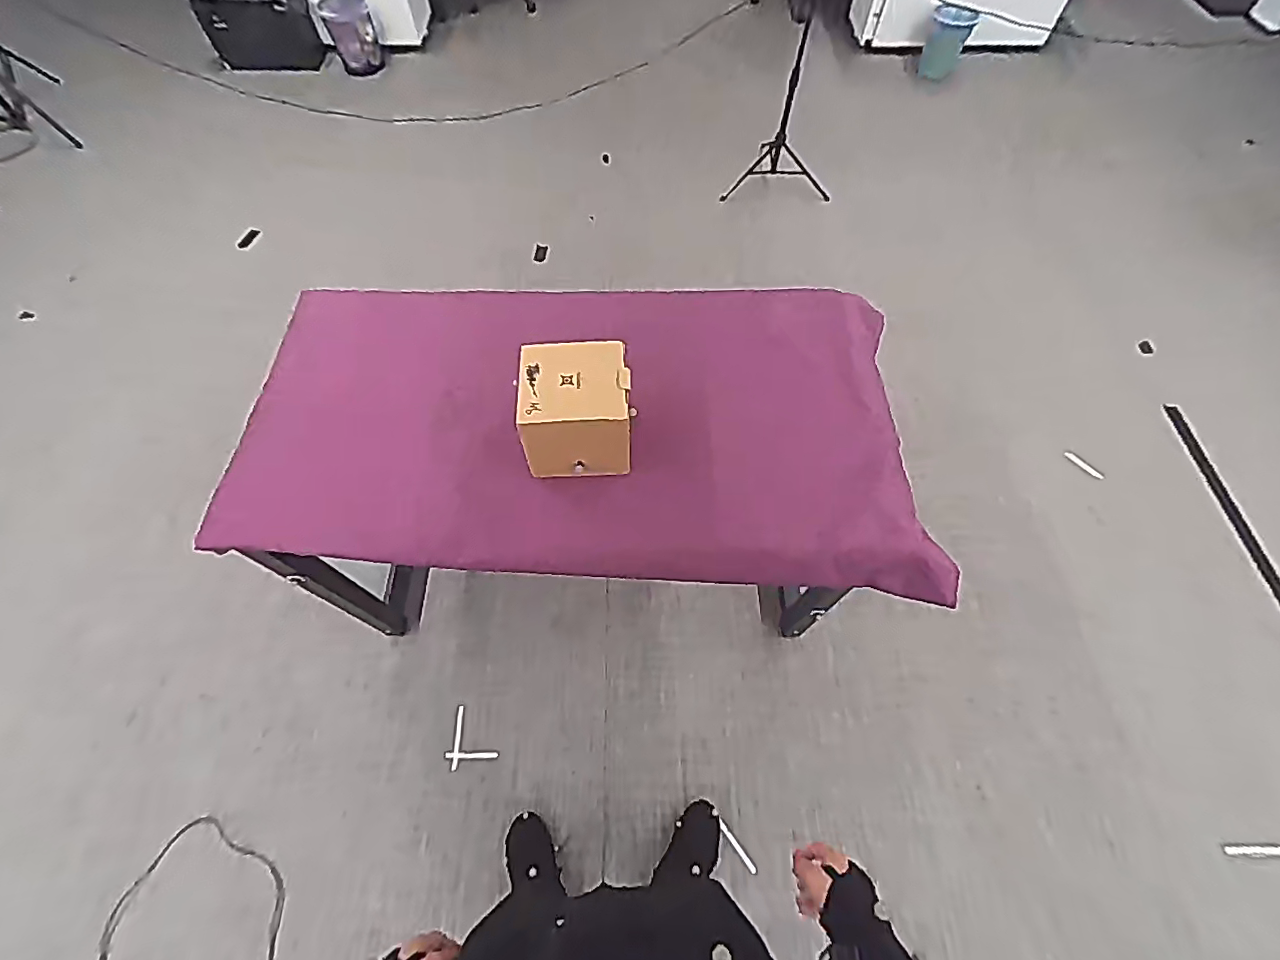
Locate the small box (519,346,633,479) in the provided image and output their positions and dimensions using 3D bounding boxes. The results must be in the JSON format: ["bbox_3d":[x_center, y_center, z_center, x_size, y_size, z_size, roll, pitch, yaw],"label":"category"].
[{"bbox_3d":[-0.104,-0.113,0.939,0.179,0.176,0.168,-2,59,-2],"label":"small box"}]
